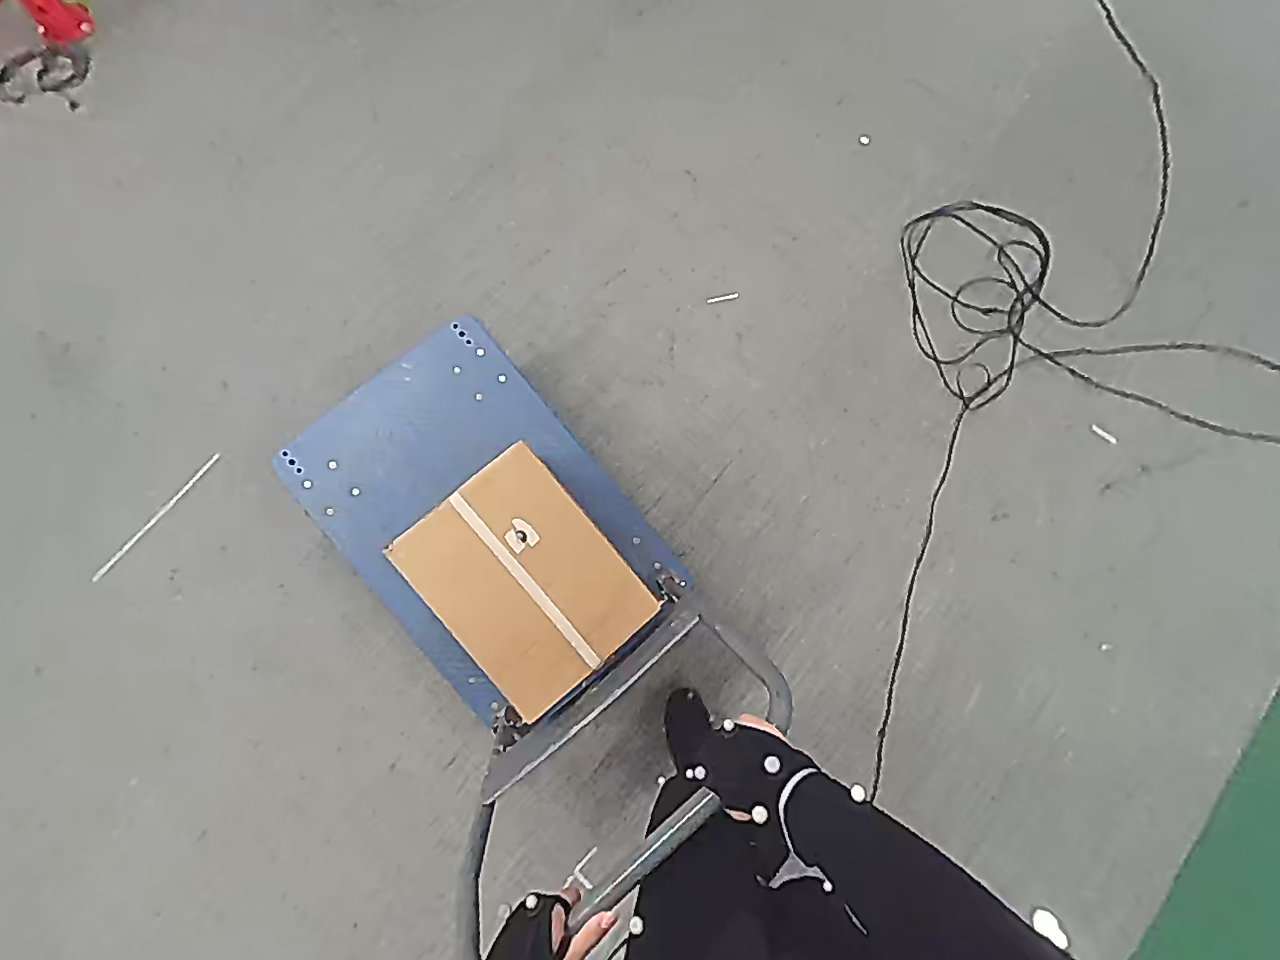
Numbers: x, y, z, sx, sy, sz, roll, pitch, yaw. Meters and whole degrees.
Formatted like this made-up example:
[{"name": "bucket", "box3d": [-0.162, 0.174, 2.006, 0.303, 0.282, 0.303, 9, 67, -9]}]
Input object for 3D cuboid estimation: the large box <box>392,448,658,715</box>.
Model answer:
[{"name": "large box", "box3d": [-0.217, 0.194, 1.138, 0.320, 0.320, 0.408, -41, 90, -7]}]
